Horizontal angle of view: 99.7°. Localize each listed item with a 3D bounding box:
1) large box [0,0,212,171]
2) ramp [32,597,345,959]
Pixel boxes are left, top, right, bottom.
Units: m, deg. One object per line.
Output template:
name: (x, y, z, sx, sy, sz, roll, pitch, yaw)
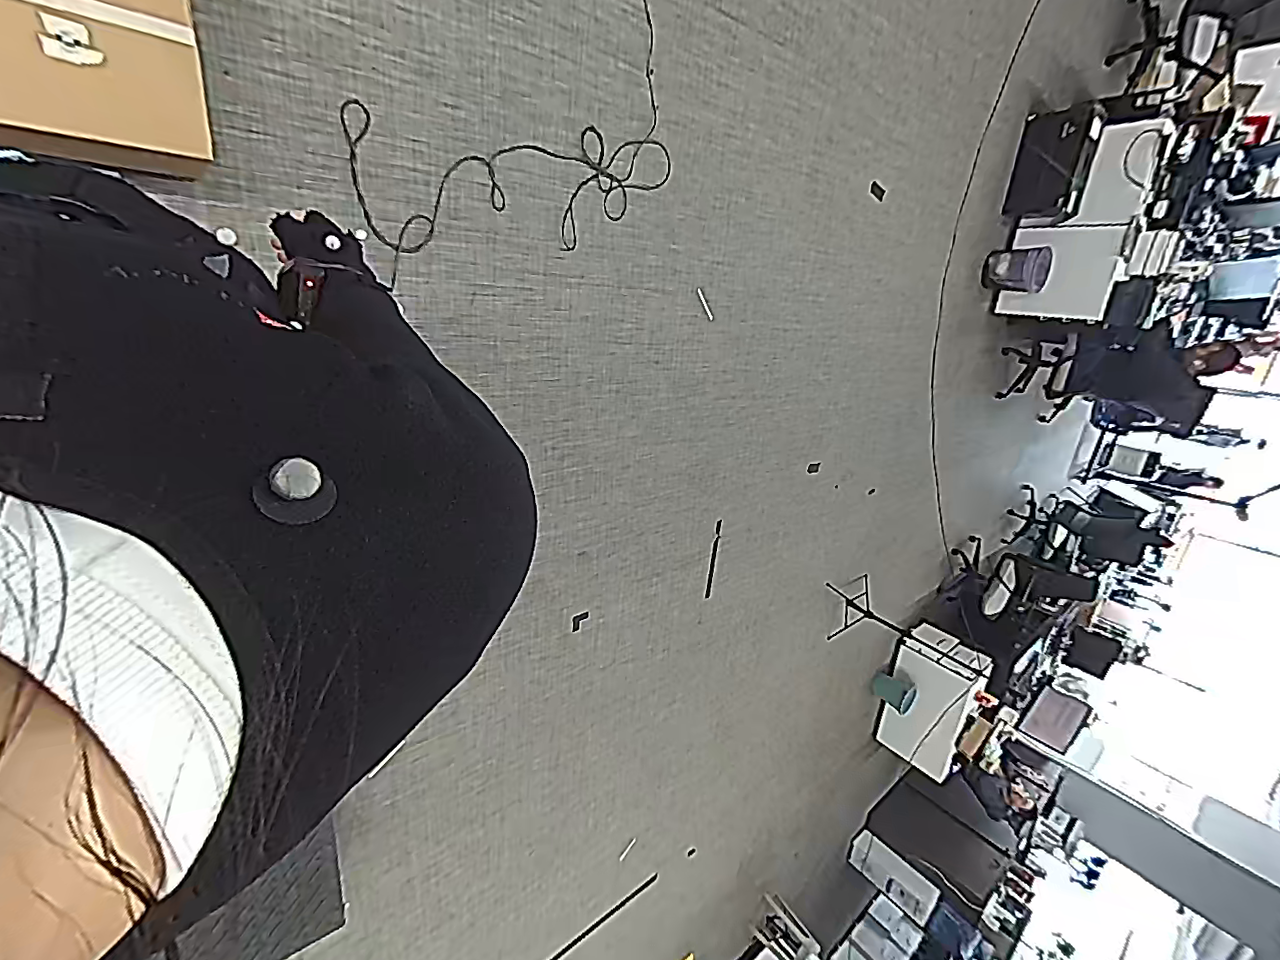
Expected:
large box: (-0.897, -0.660, 0.765, 0.408, 0.320, 0.320, -12, 116, -39)
ramp: (-1.055, 0.818, 1.337, 0.509, 0.206, 0.991, -10, 114, -37)
